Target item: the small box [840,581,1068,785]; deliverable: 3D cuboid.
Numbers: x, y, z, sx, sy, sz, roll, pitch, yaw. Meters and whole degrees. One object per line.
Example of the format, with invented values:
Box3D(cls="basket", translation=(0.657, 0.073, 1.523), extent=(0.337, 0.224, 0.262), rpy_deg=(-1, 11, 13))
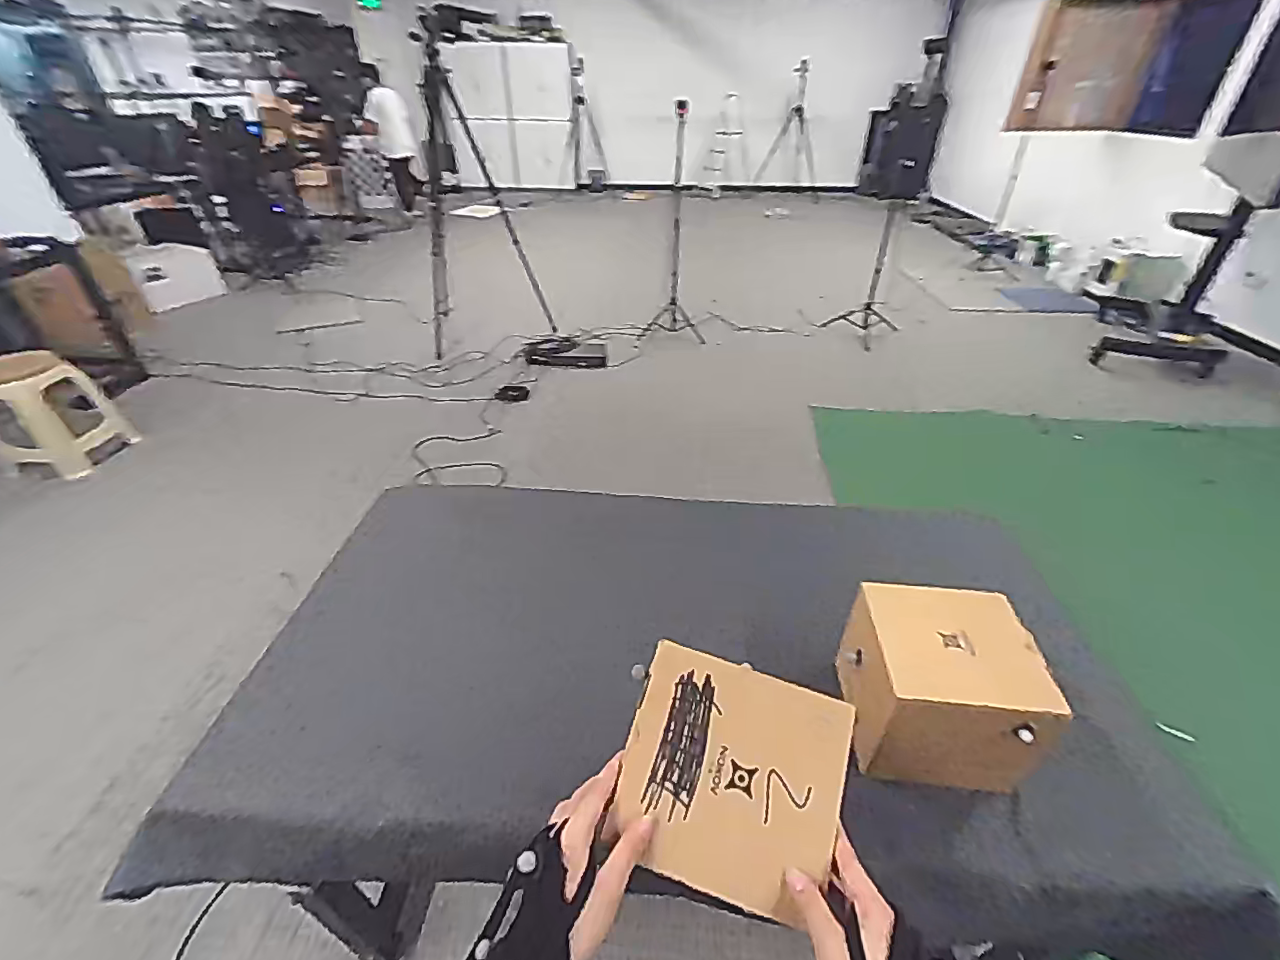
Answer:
Box3D(cls="small box", translation=(0.355, 0.246, 0.659), extent=(0.179, 0.176, 0.168), rpy_deg=(4, 36, 4))
